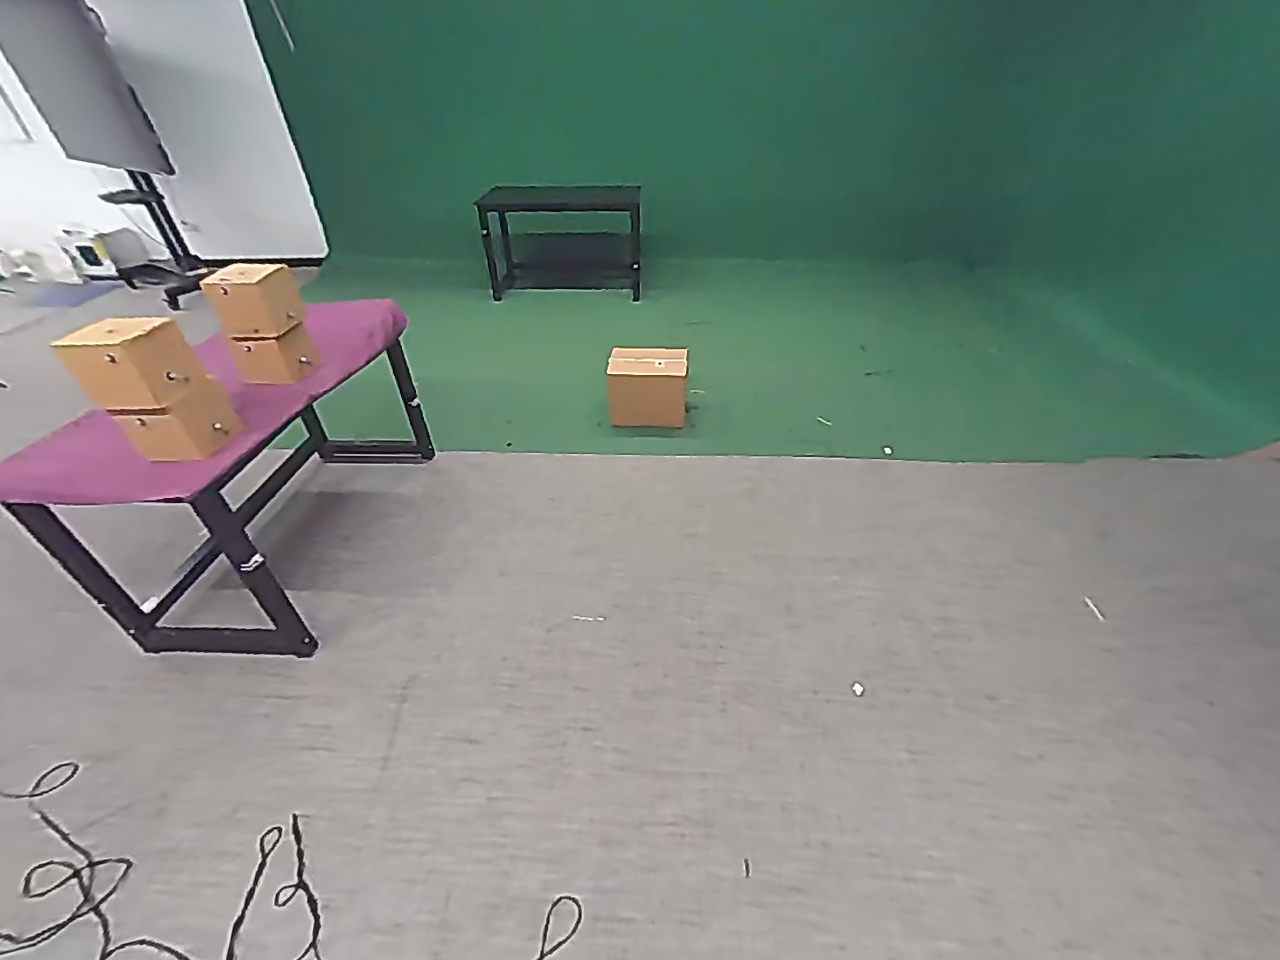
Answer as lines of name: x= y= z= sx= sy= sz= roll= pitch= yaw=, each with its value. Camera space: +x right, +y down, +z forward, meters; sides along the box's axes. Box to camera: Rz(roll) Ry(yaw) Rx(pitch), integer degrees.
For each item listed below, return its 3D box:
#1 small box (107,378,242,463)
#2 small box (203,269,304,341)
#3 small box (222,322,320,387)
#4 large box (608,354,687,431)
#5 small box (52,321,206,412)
small box: x=-1.218 y=-0.156 z=1.428 sx=0.179 sy=0.176 sz=0.168 roll=-1 pitch=38 yaw=3
small box: x=-1.178 y=-0.541 z=1.669 sx=0.168 sy=0.176 sz=0.179 roll=0 pitch=37 yaw=2
small box: x=-1.202 y=-0.416 z=1.776 sx=0.179 sy=0.176 sz=0.168 roll=2 pitch=38 yaw=4
large box: x=0.044 y=-0.469 z=2.891 sx=0.408 sy=0.320 sz=0.320 roll=3 pitch=38 yaw=4
small box: x=-1.231 y=-0.275 z=1.319 sx=0.179 sy=0.176 sz=0.168 roll=-1 pitch=37 yaw=3
